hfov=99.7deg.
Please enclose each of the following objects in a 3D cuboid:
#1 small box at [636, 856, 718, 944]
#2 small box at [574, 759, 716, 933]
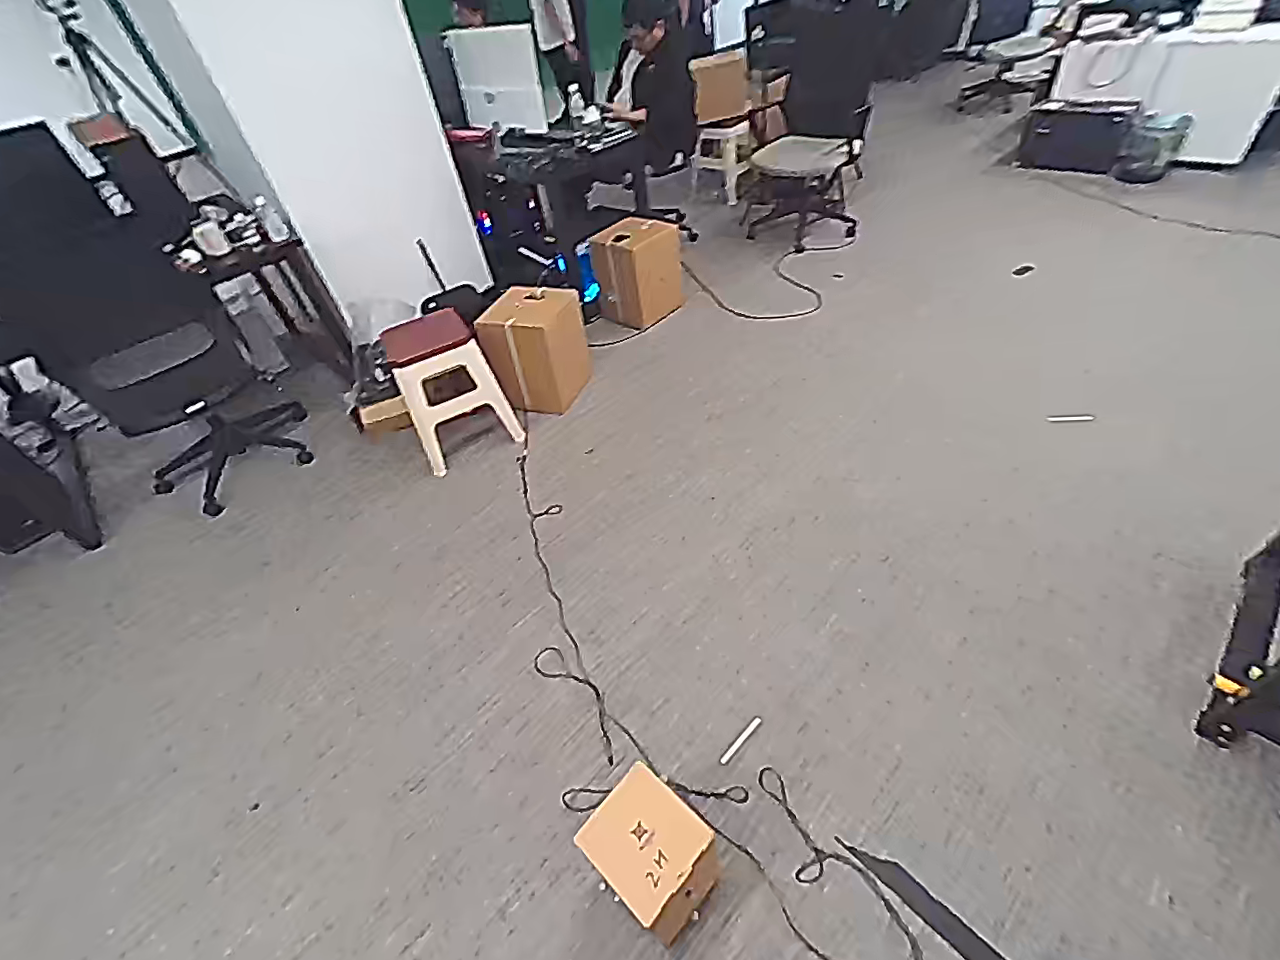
[{"bbox_3d":[0.034,0.750,1.048,0.168,0.176,0.179,-39,52,-26],"label":"small box"},{"bbox_3d":[0.014,0.633,0.933,0.179,0.176,0.168,31,58,33],"label":"small box"}]
